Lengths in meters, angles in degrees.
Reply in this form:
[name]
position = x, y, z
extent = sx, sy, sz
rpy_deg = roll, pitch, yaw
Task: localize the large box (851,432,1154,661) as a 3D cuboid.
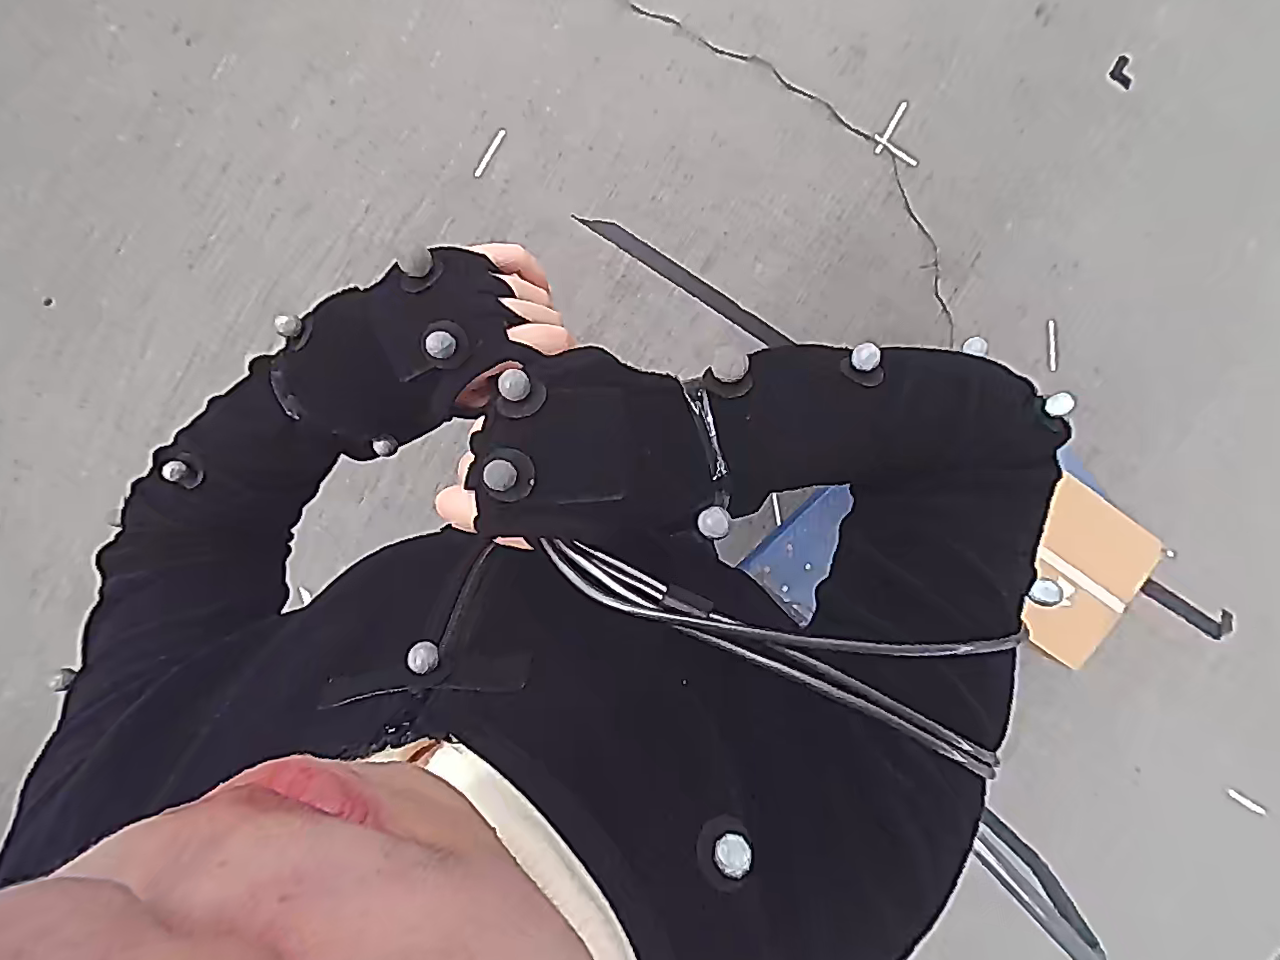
[large box]
position = 0.776, 0.124, 1.218
extent = 0.408, 0.320, 0.320
rpy_deg = 34, 93, -6
